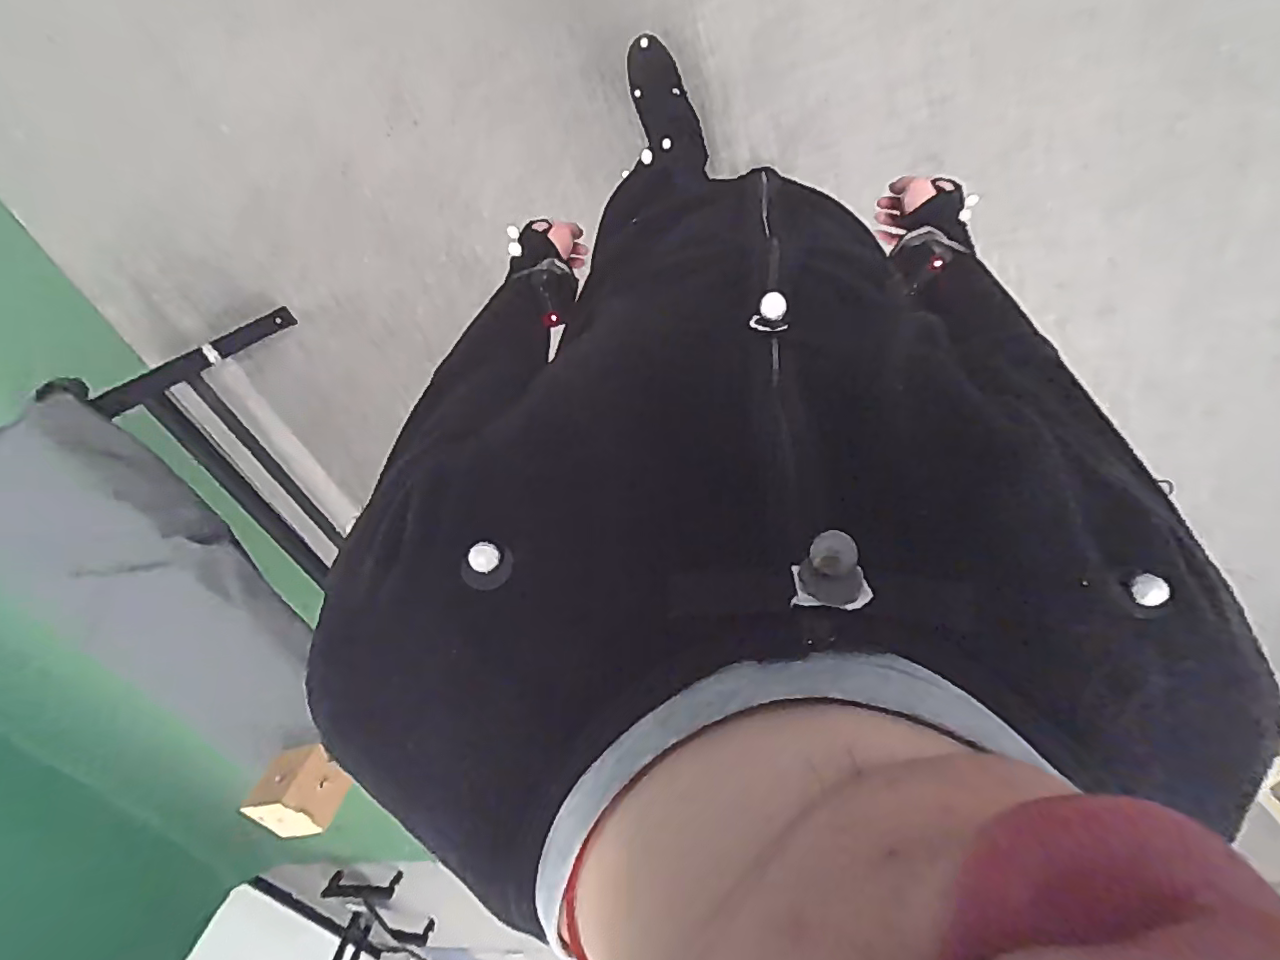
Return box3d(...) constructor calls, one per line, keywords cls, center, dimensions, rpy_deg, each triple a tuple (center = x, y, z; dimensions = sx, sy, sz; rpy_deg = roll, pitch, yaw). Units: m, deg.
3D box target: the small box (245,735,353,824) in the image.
box3d(cls="small box", center=(-0.972, 0.862, 1.565), dimensions=(0.179, 0.176, 0.168), rpy_deg=(-19, 119, 20))
